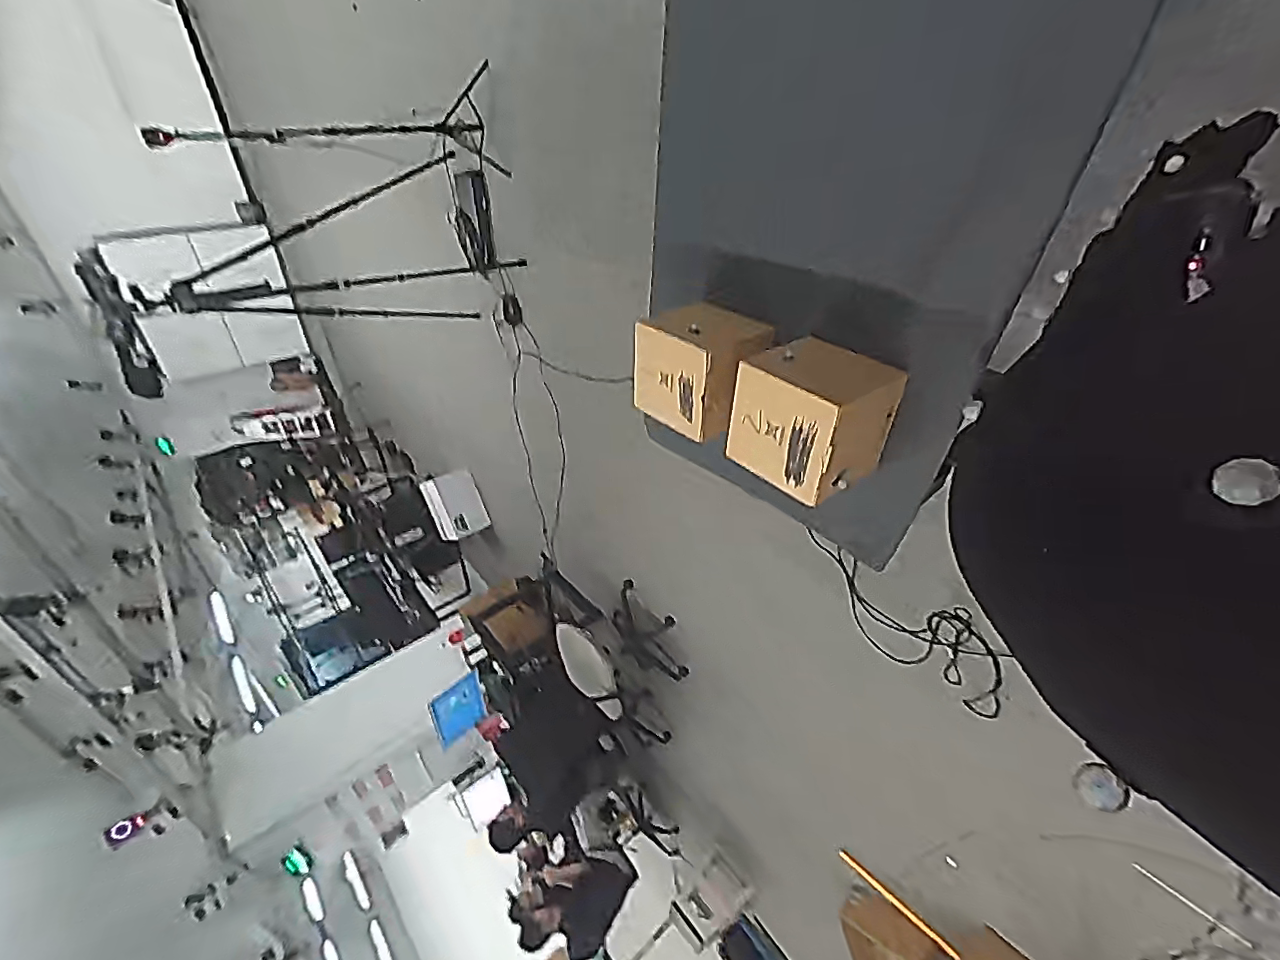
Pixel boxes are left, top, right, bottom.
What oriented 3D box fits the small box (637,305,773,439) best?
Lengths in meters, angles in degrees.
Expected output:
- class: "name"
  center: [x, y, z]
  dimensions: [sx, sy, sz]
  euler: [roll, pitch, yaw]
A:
- class: "small box"
  center: [0.114, -0.202, 0.966]
  dimensions: [0.179, 0.176, 0.168]
  euler: [35, 137, 38]
